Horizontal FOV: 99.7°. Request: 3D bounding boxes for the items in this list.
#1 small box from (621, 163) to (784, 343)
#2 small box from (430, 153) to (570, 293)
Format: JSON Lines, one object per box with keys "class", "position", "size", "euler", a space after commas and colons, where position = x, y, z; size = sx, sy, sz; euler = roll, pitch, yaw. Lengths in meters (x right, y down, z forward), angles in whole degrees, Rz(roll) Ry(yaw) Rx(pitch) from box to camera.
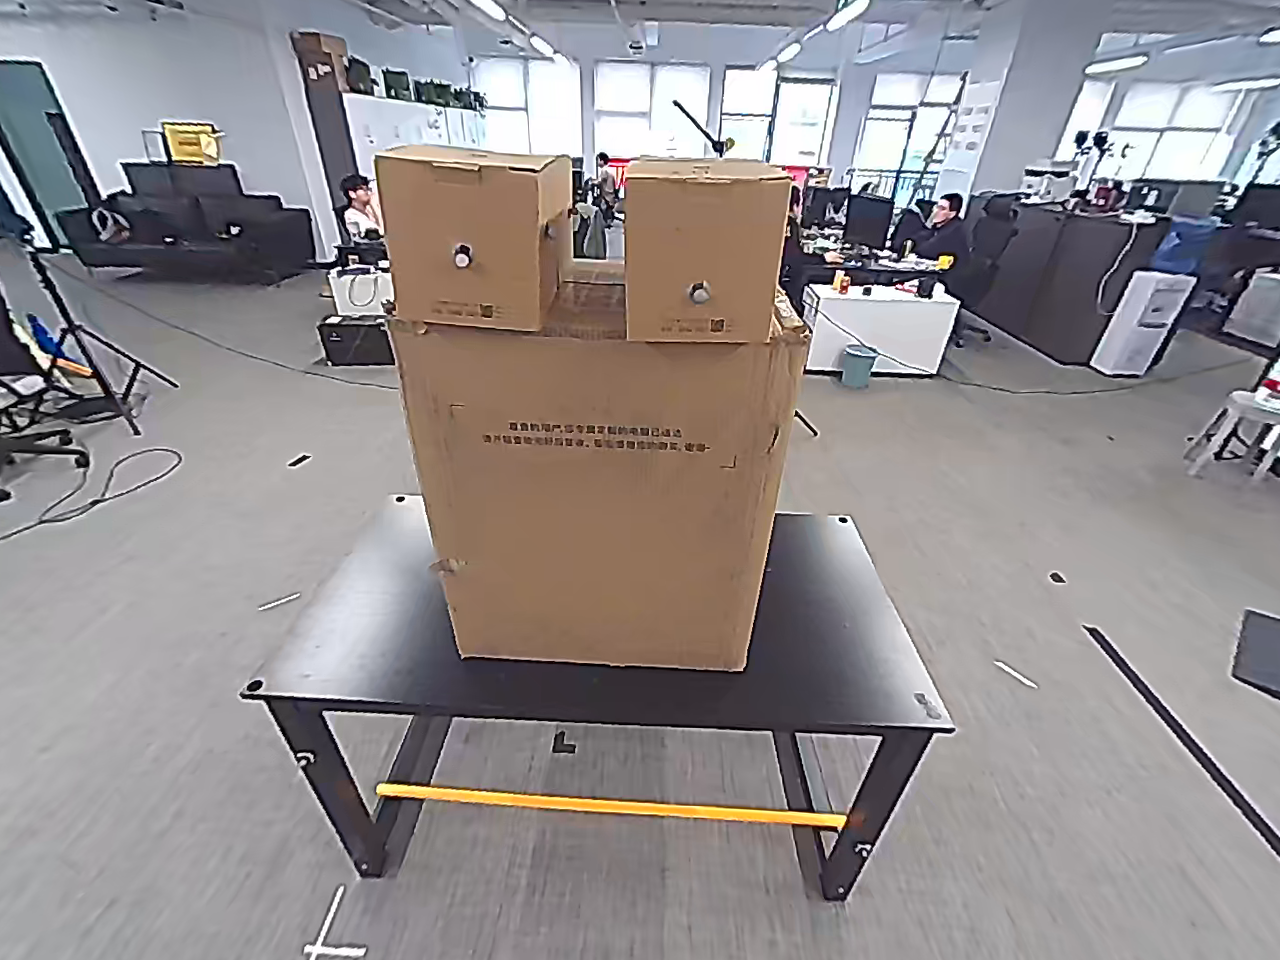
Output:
{"class": "small box", "position": [0.064, -0.275, 0.648], "size": [0.168, 0.176, 0.179], "euler": [0, 35, 1]}
{"class": "small box", "position": [-0.198, -0.393, 0.820], "size": [0.168, 0.176, 0.179], "euler": [2, 32, 0]}
